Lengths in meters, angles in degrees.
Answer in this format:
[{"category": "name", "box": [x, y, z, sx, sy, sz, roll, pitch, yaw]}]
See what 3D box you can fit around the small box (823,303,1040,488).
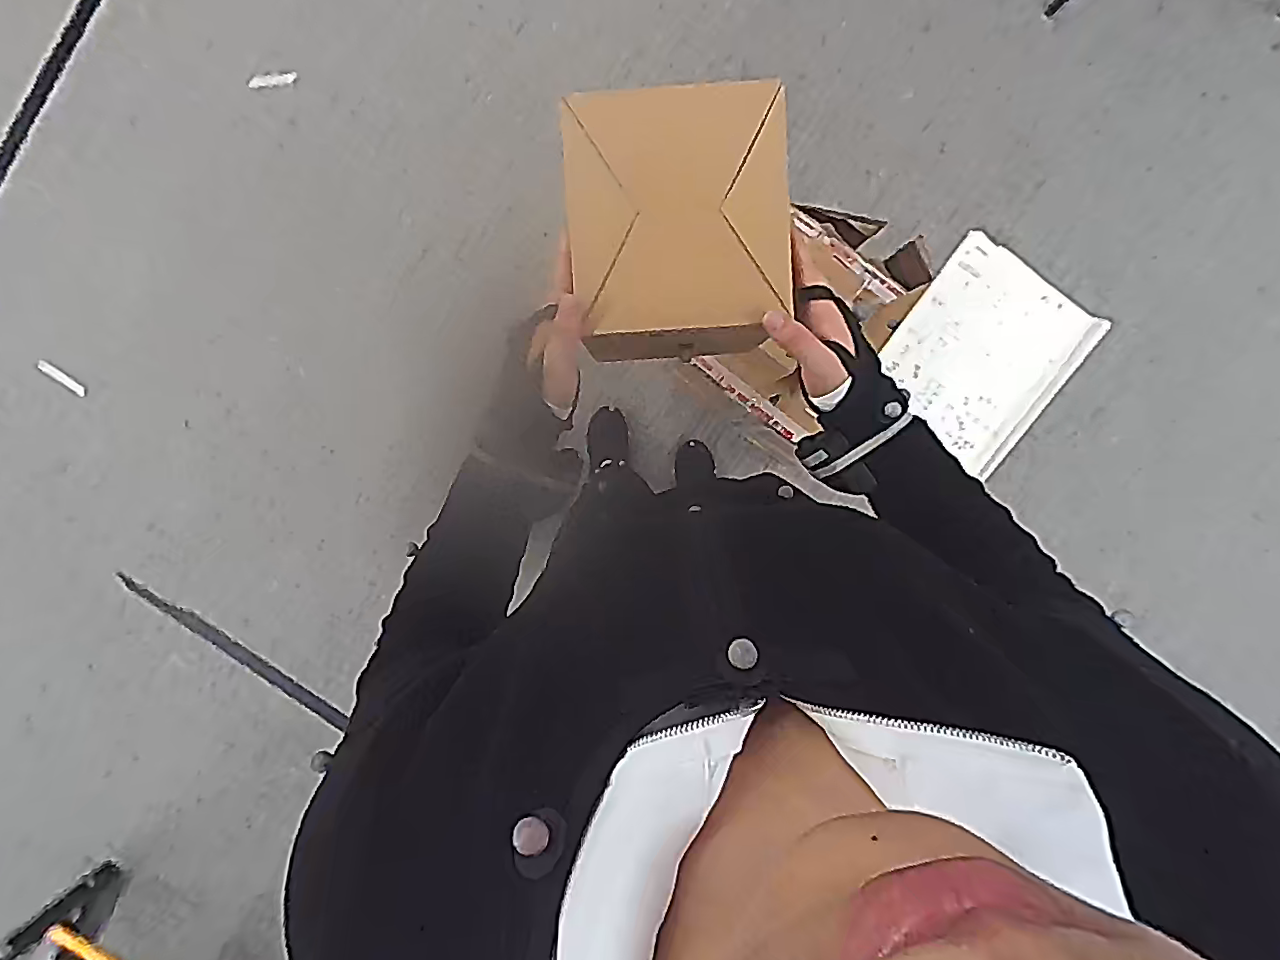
[{"category": "small box", "box": [0.388, -0.114, 0.758, 0.168, 0.176, 0.179, 36, 96, -3]}]
